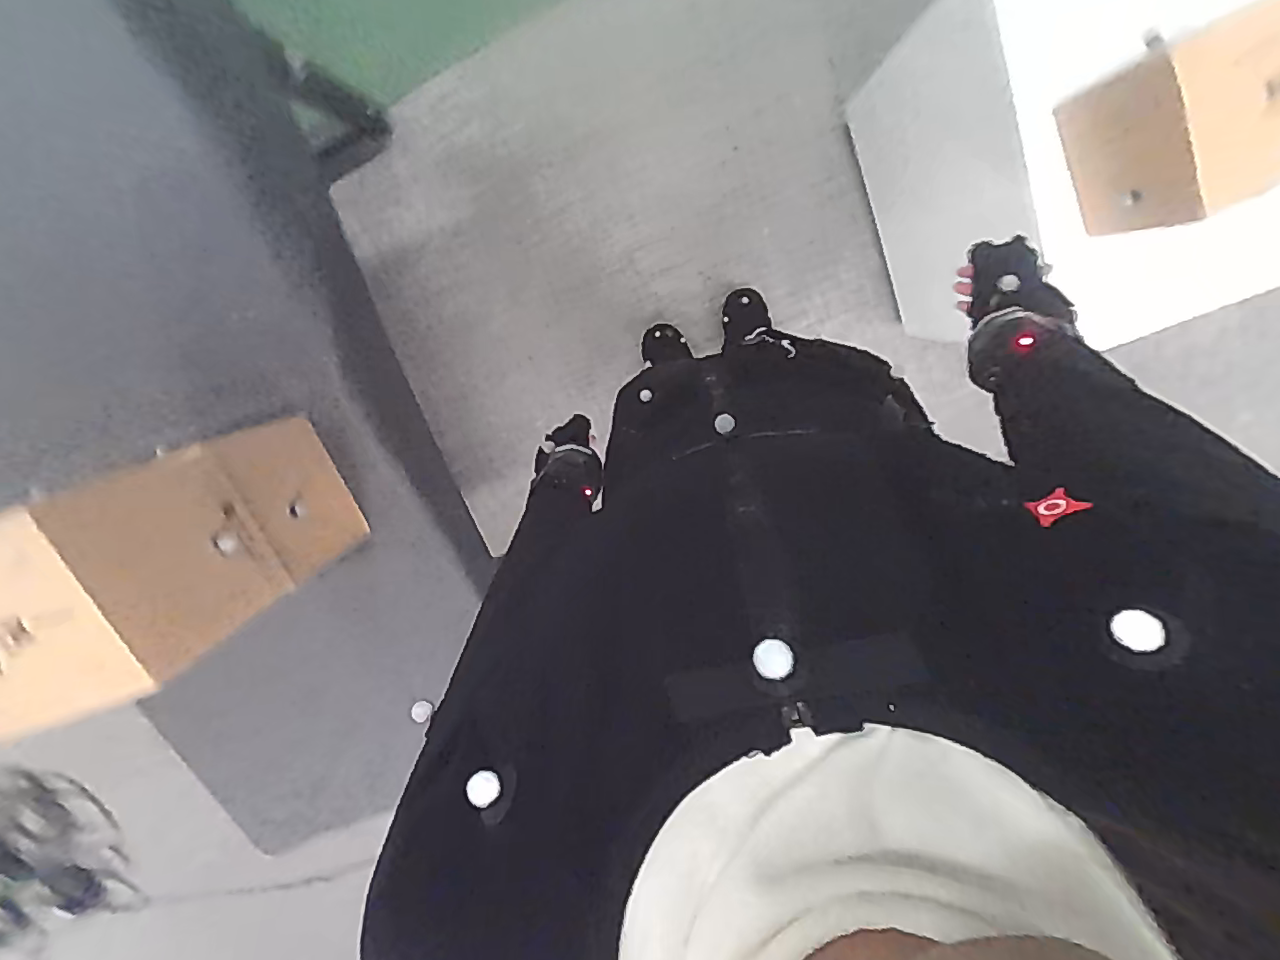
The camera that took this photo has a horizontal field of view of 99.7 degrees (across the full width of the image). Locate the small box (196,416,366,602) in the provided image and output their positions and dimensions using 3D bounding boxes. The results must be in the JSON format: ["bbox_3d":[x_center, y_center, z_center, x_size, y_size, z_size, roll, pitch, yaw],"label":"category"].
[{"bbox_3d":[-0.480,0.041,0.663,0.168,0.176,0.179,-19,107,11],"label":"small box"}]

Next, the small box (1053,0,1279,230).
[{"bbox_3d":[0.598,-0.391,0.579,0.168,0.176,0.179,-27,104,11],"label":"small box"}]

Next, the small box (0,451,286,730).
[{"bbox_3d":[-0.492,0.092,0.507,0.179,0.176,0.168,-21,105,13],"label":"small box"}]
